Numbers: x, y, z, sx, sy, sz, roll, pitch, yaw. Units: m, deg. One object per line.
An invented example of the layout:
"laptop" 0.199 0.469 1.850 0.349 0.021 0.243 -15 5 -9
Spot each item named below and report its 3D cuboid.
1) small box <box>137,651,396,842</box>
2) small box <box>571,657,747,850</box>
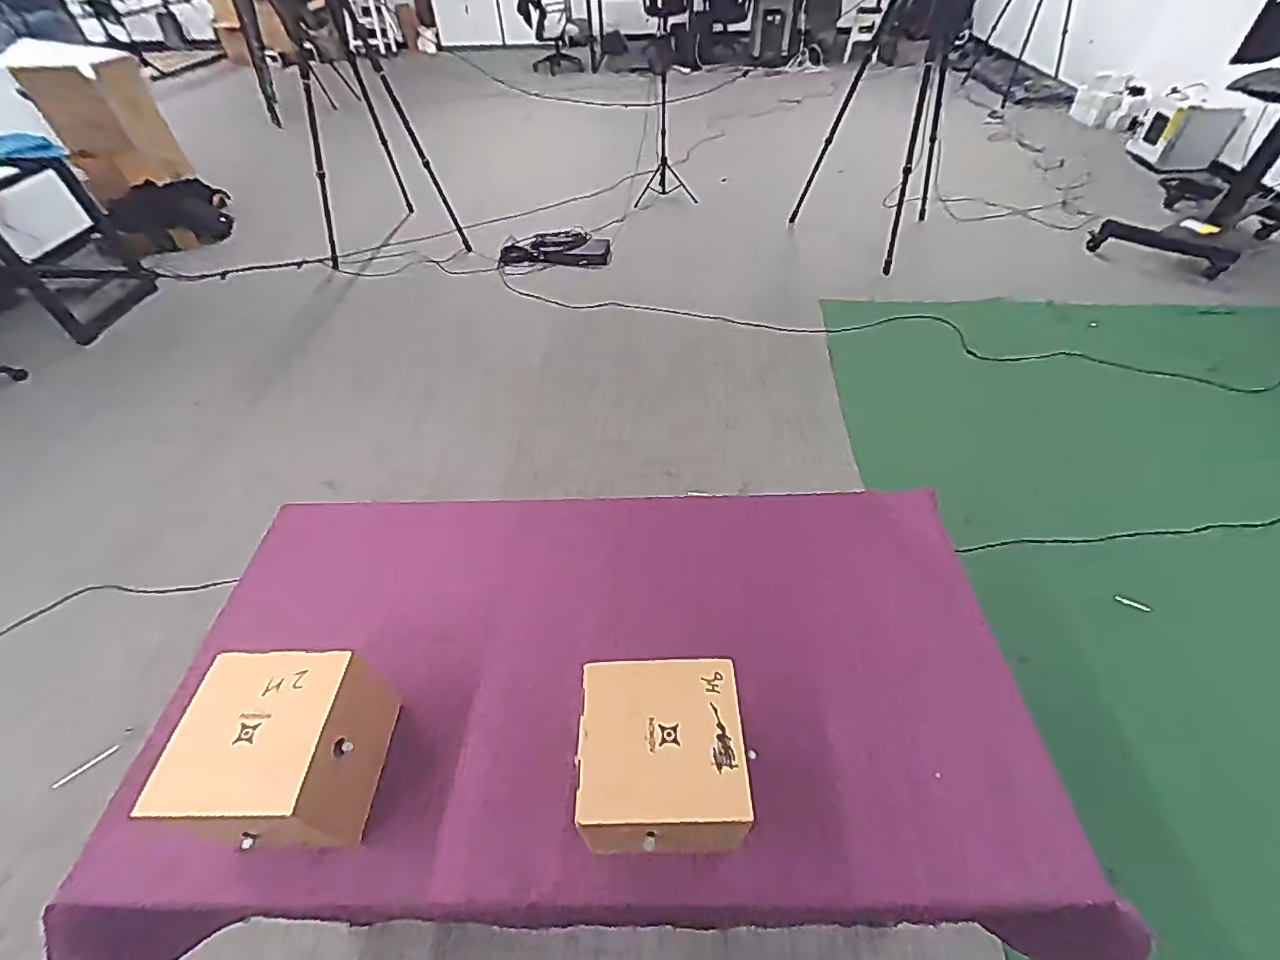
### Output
"small box" -0.423 0.325 0.656 0.168 0.176 0.179 -1 47 1
"small box" 0.023 0.324 0.636 0.179 0.176 0.168 -2 48 2
